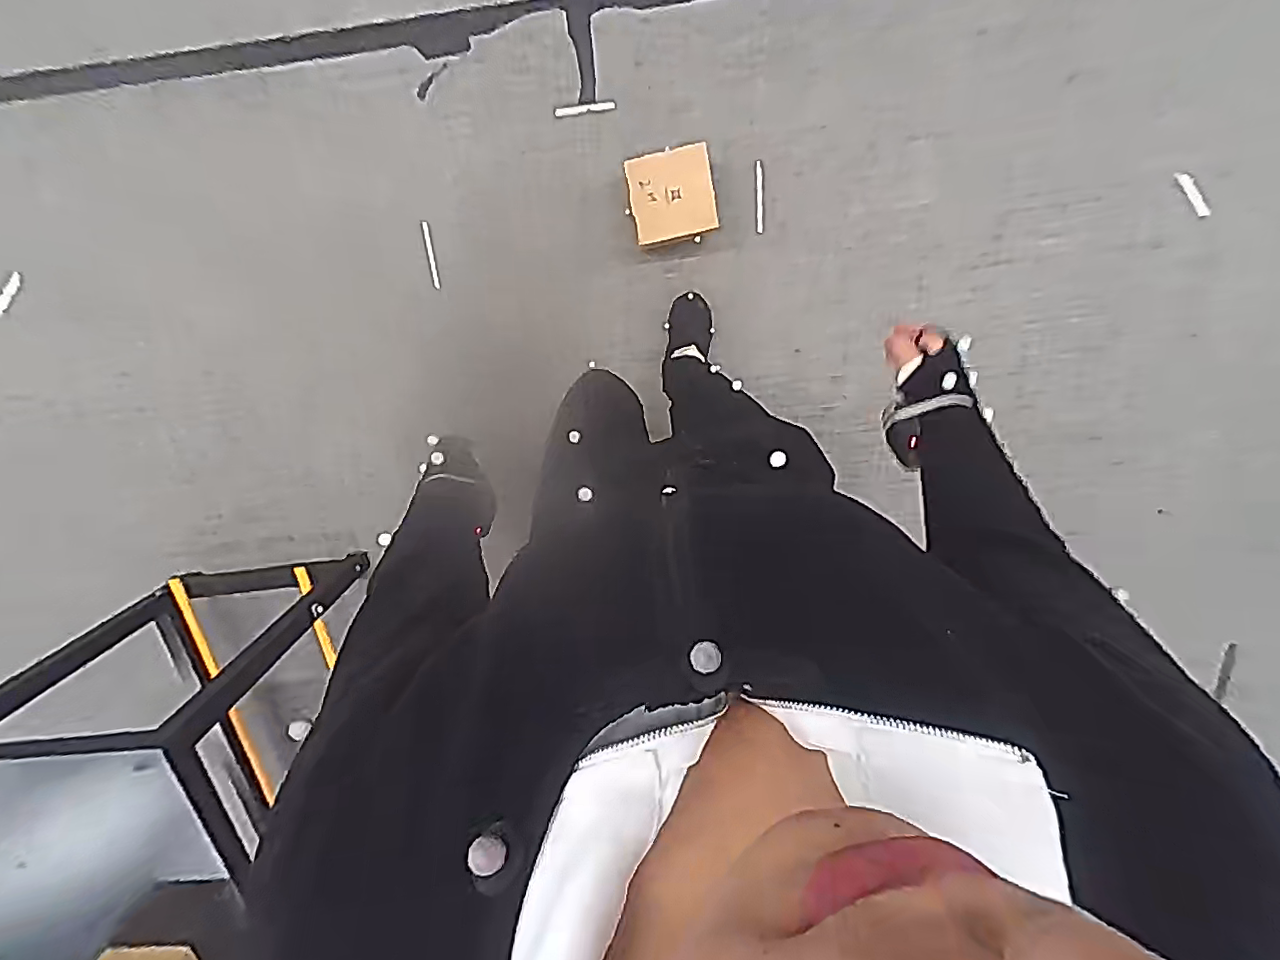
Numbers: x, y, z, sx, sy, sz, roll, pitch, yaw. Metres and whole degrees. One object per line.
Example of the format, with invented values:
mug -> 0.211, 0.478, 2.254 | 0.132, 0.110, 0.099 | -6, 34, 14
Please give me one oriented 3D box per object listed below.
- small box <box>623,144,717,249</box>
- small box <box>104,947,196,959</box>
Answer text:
small box -> 0.063, -0.622, 1.204 | 0.179, 0.176, 0.168 | -11, 109, 4
small box -> -0.972, 1.028, 1.025 | 0.179, 0.176, 0.168 | -4, 109, 2
